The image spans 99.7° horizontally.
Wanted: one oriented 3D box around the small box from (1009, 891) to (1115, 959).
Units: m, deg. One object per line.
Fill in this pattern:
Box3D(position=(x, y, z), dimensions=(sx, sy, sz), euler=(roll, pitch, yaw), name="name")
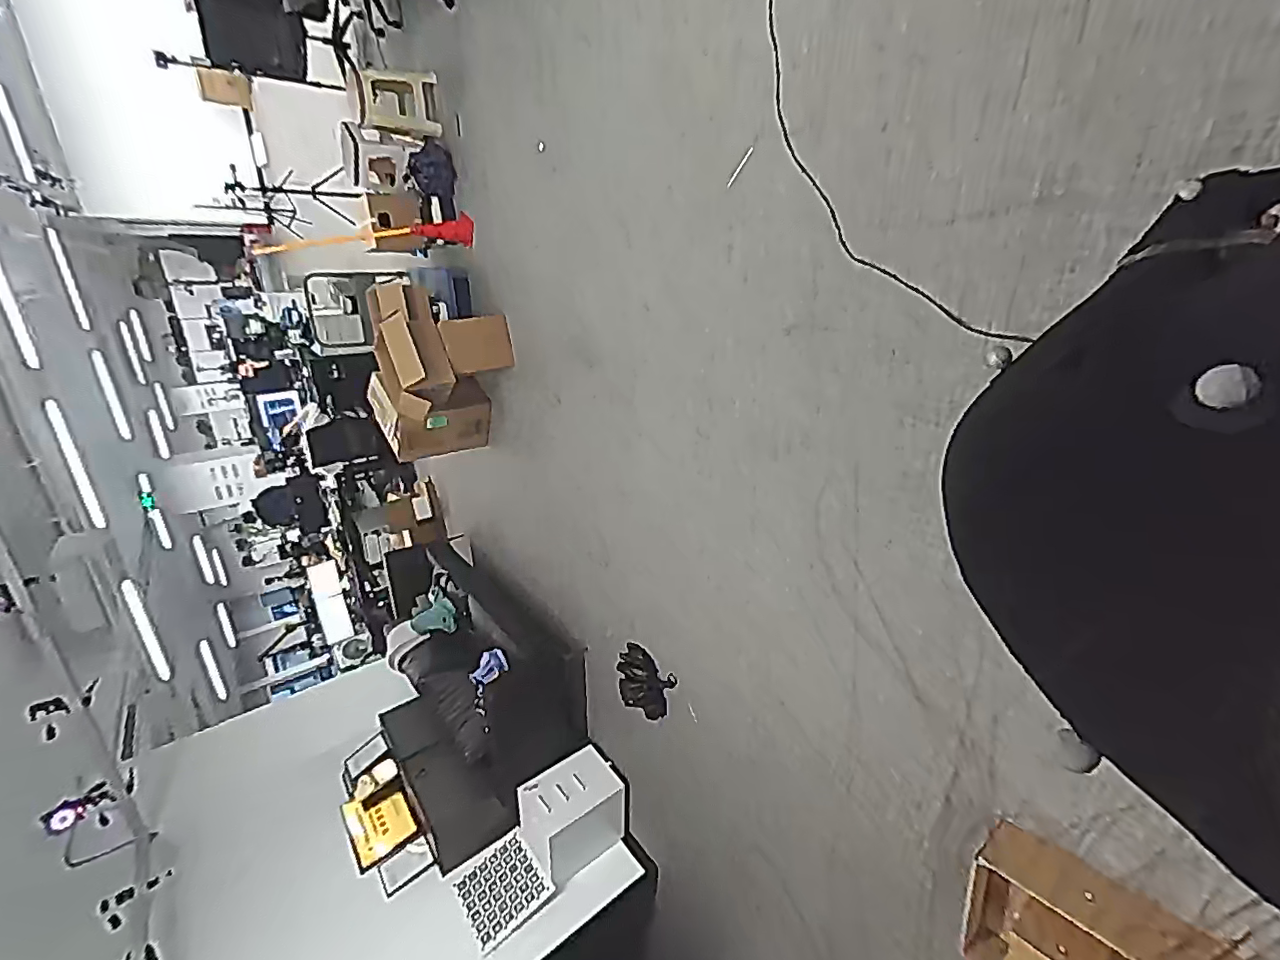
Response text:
Box3D(position=(1.099, 1.239, 1.410), dimensions=(0.179, 0.176, 0.168), euler=(19, 119, 48), name="small box")
